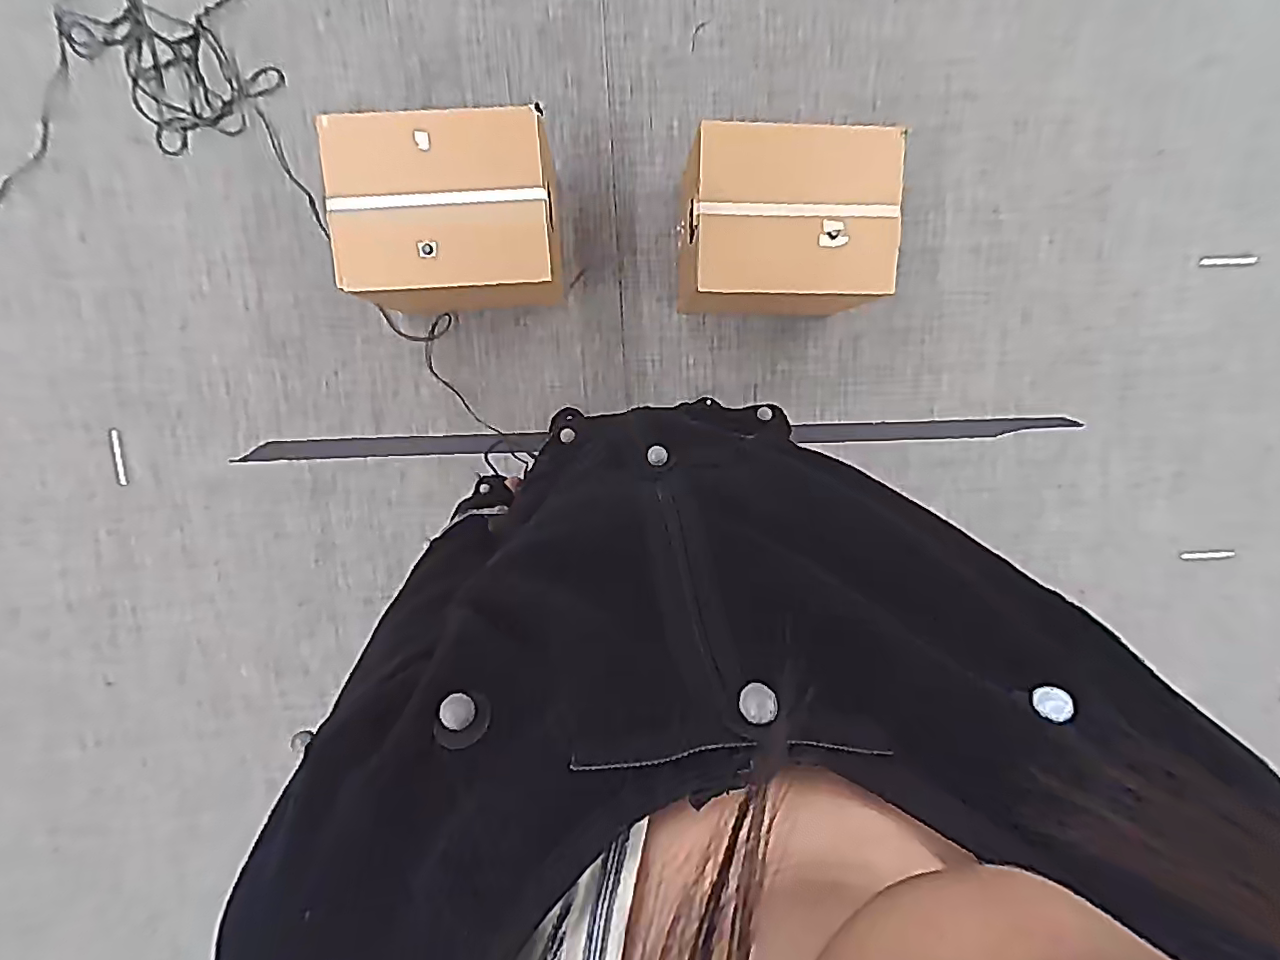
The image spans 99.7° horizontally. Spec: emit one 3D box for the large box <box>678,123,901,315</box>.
[{"bbox_3d":[0.304,-0.554,1.213,0.408,0.320,0.320,0,99,-4],"label":"large box"}]
